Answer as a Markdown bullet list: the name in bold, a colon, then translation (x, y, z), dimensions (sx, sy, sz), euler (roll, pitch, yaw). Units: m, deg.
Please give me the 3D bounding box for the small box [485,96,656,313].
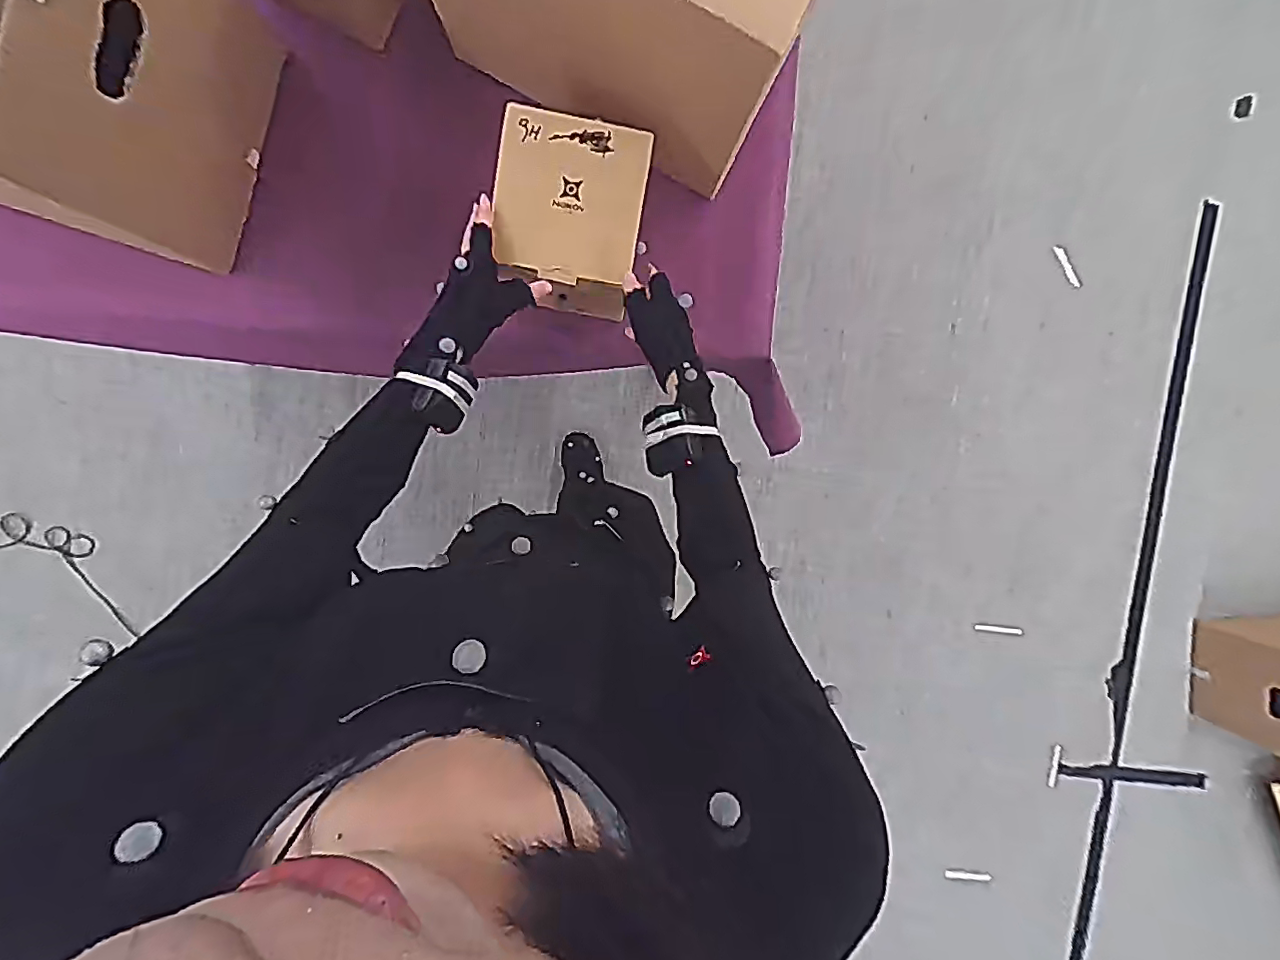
- **small box**: translation (-0.081, -0.320, 0.670), dimensions (0.168, 0.176, 0.179), euler (9, 94, -5)
